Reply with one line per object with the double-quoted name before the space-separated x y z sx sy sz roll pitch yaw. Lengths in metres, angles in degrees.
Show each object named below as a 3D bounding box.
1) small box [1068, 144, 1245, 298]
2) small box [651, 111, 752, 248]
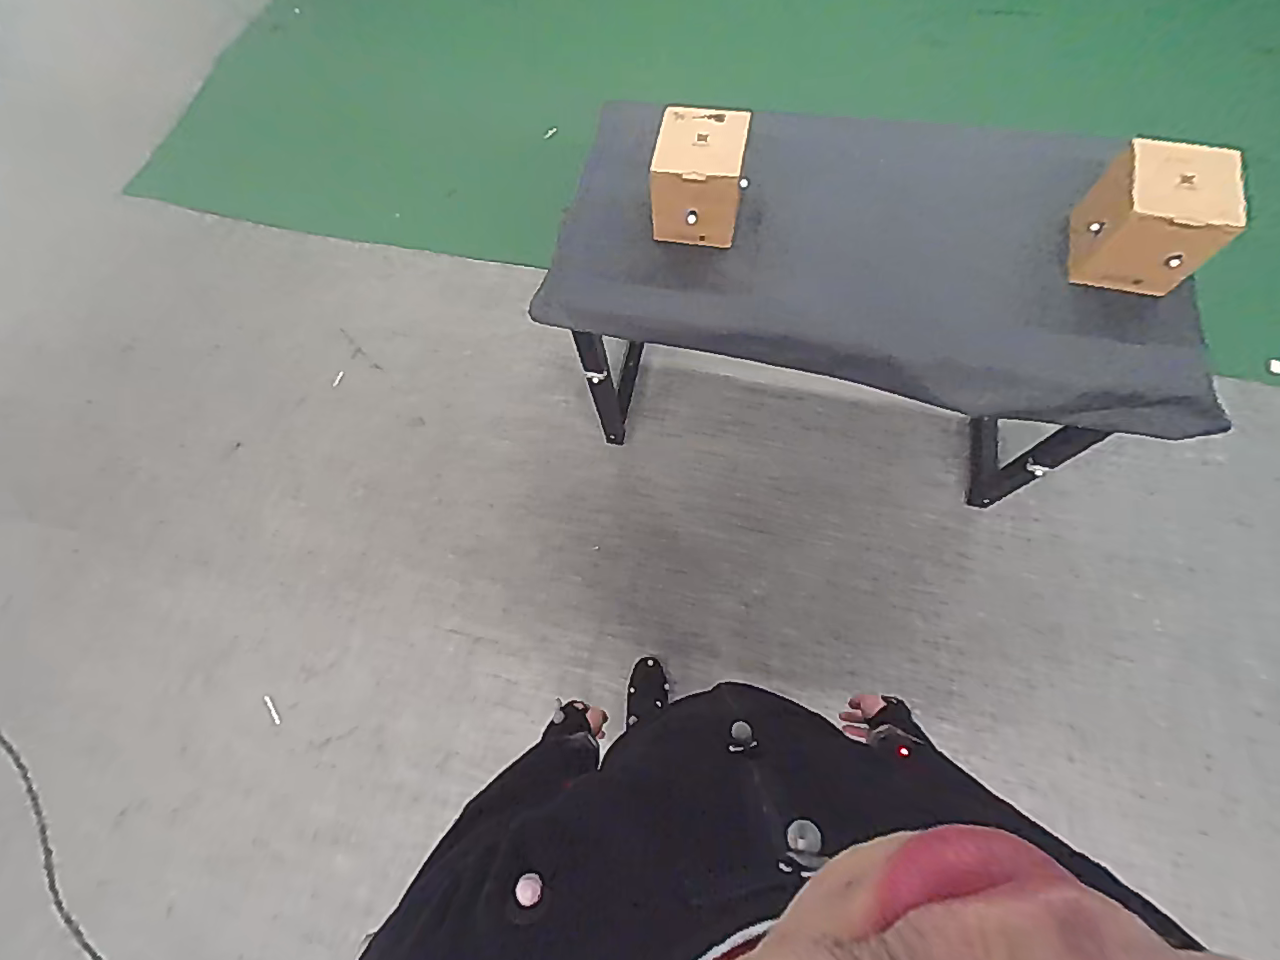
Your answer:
"small box" 0.911 -0.458 0.971 0.168 0.176 0.179 14 70 9
"small box" 0.123 -0.595 1.086 0.168 0.176 0.179 10 71 7
